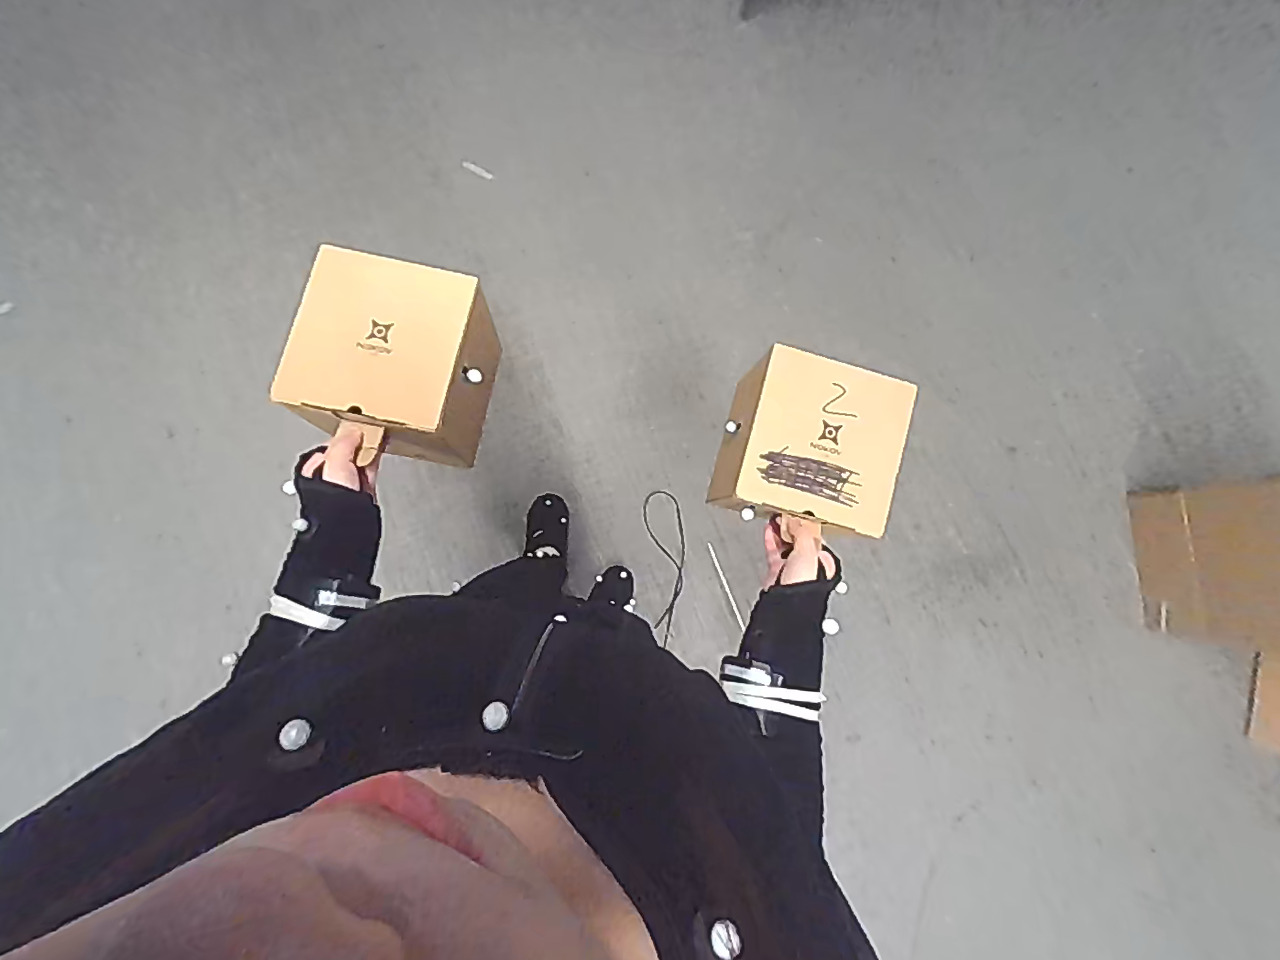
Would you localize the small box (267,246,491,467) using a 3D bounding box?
[{"bbox_3d":[-0.278,-0.128,0.624,0.168,0.176,0.179,11,78,-5],"label":"small box"}]
